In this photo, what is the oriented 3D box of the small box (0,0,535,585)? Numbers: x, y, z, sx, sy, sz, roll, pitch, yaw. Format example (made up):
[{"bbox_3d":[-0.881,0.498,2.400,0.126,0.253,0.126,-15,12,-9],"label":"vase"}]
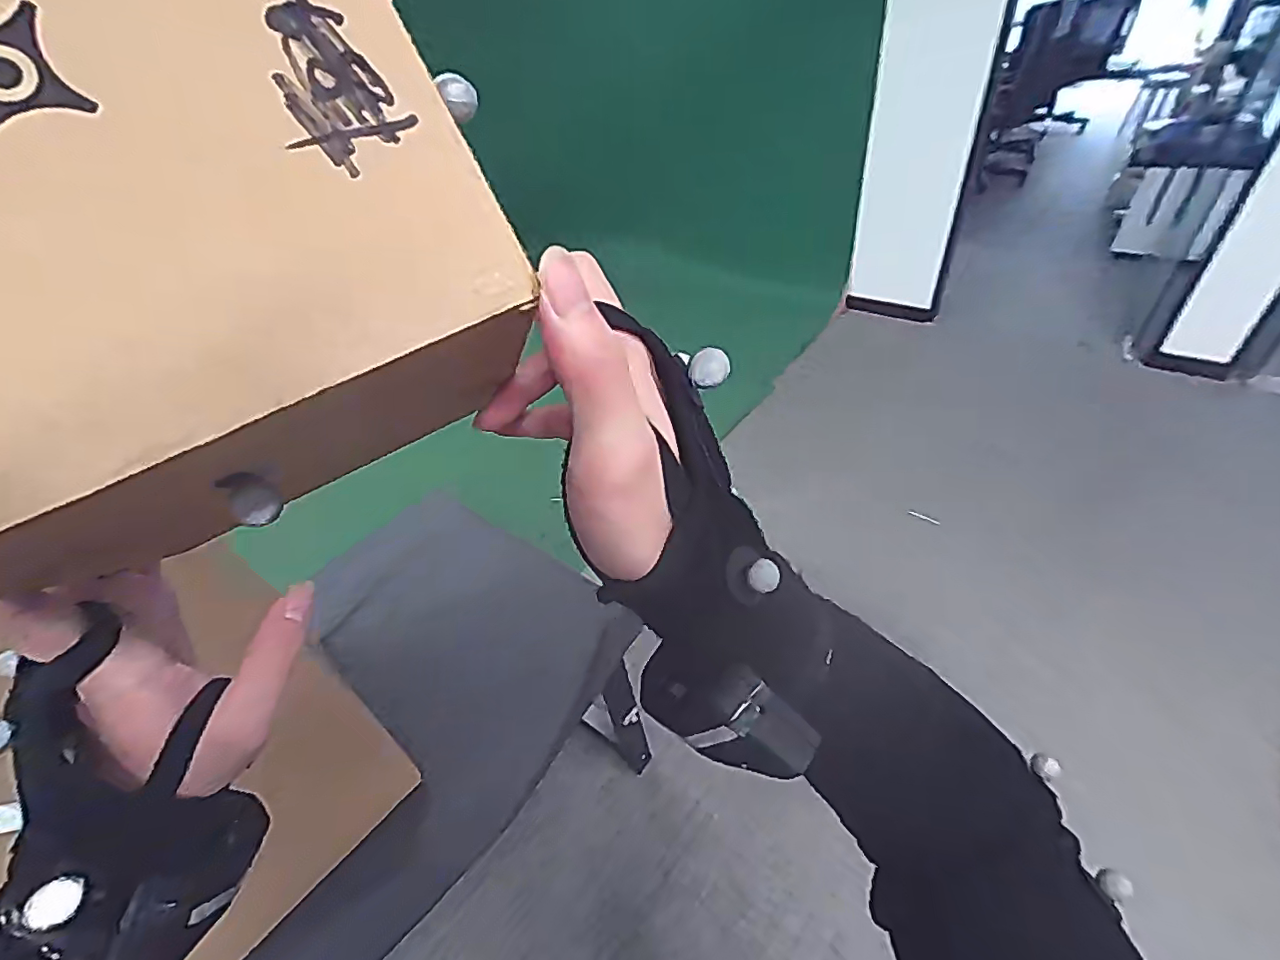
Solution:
[{"bbox_3d":[-0.155,-0.076,0.189,0.179,0.168,0.176,-29,8,-14],"label":"small box"}]
